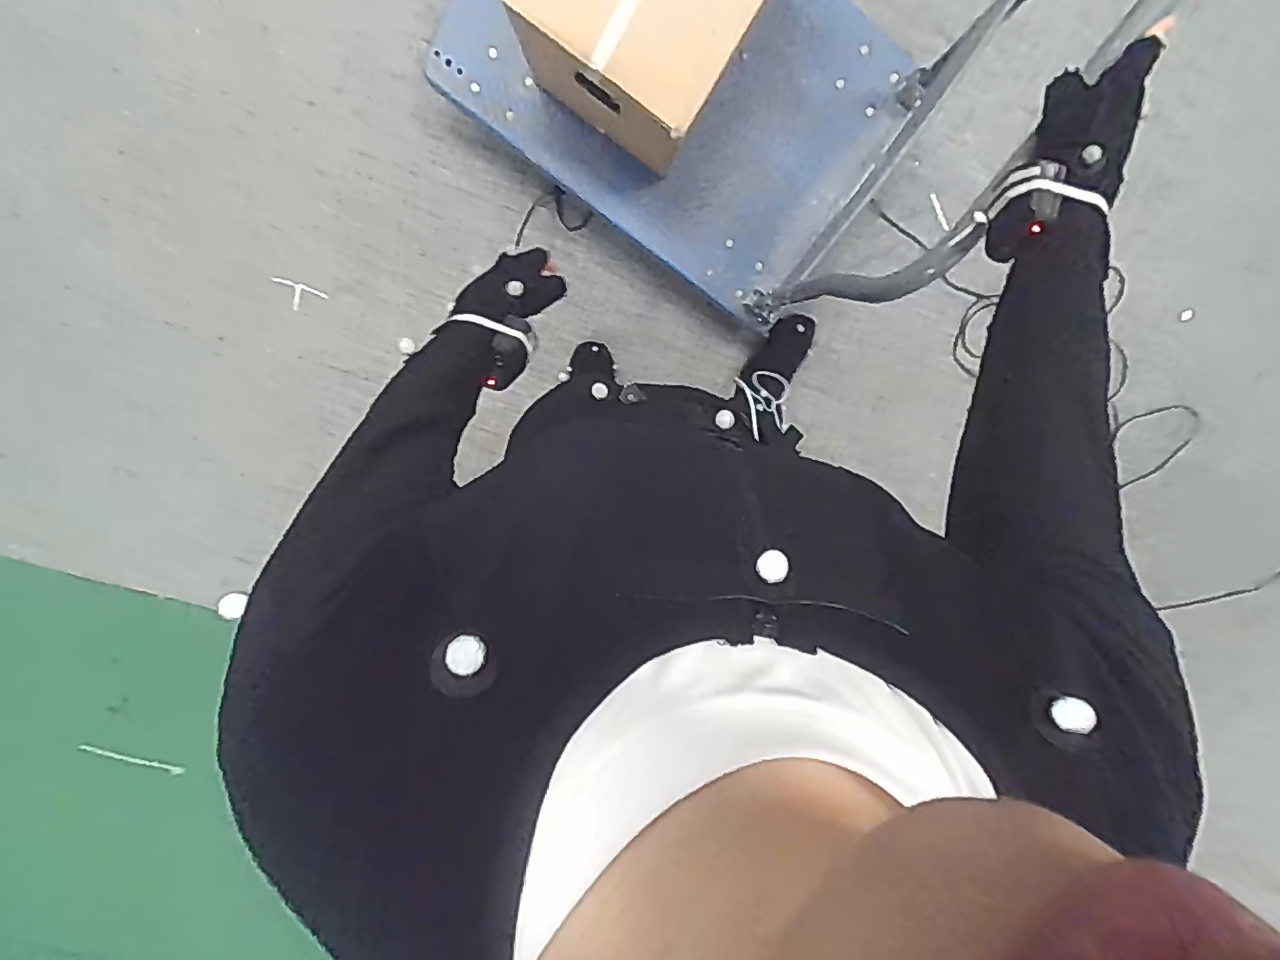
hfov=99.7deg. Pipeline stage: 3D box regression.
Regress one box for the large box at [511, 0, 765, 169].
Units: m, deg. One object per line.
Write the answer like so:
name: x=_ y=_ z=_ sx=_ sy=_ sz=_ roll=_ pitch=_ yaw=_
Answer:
large box: x=0.039 y=-0.816 z=0.886 sx=0.320 sy=0.320 sz=0.408 roll=31 pitch=106 yaw=-12
